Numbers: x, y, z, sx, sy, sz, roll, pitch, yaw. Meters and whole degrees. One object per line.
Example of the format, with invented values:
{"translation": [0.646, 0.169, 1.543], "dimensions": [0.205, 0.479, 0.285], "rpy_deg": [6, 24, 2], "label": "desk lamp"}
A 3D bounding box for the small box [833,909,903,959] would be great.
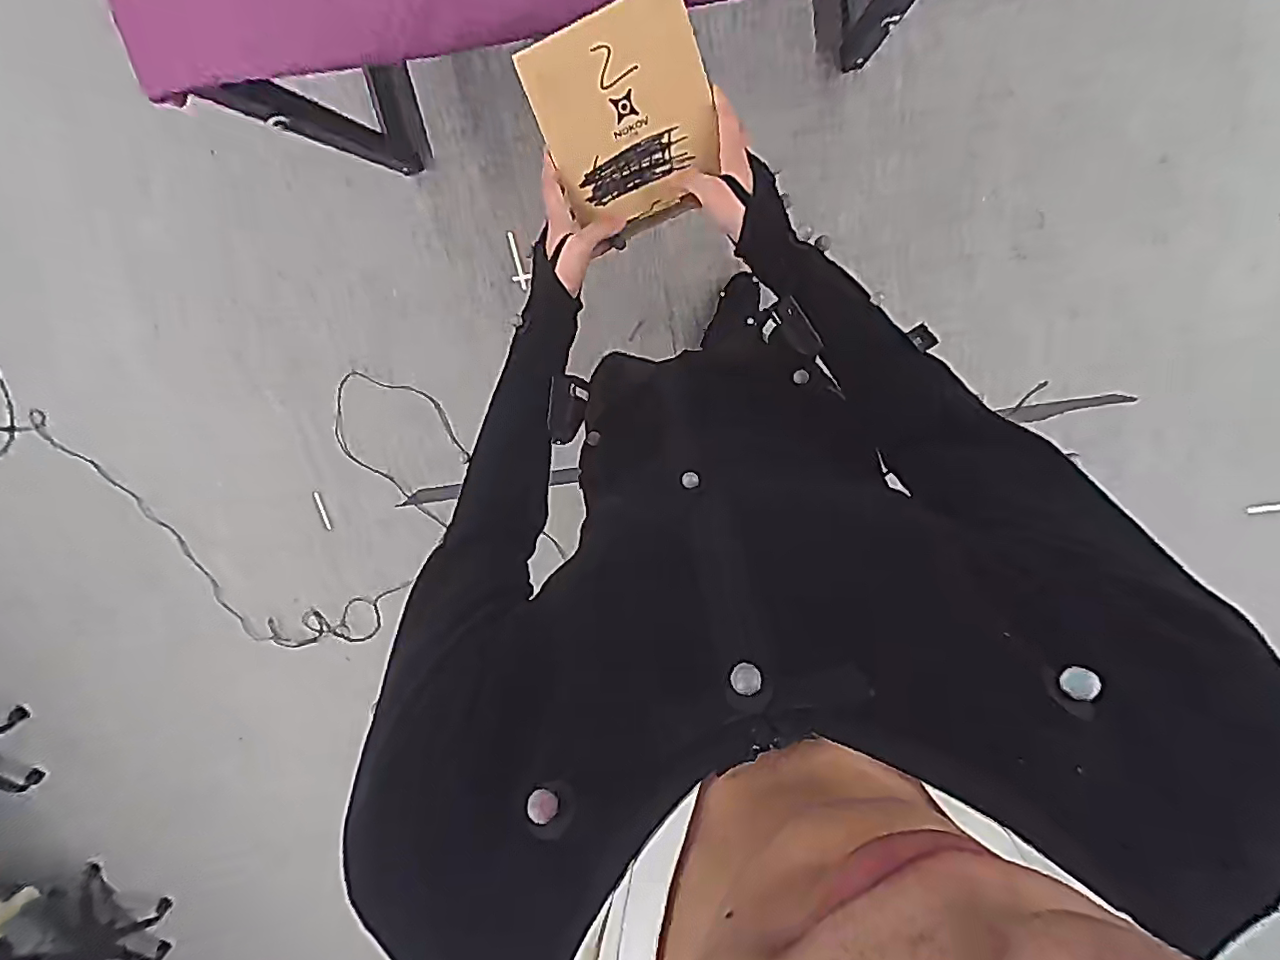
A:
{"translation": [0.745, 1.532, 1.752], "dimensions": [0.179, 0.176, 0.168], "rpy_deg": [-12, 109, 8], "label": "small box"}

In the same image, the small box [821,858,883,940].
{"translation": [0.742, 1.477, 1.907], "dimensions": [0.168, 0.176, 0.179], "rpy_deg": [-5, 110, 6], "label": "small box"}

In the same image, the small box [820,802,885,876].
{"translation": [0.795, 1.358, 2.033], "dimensions": [0.168, 0.176, 0.179], "rpy_deg": [-19, 107, 11], "label": "small box"}
